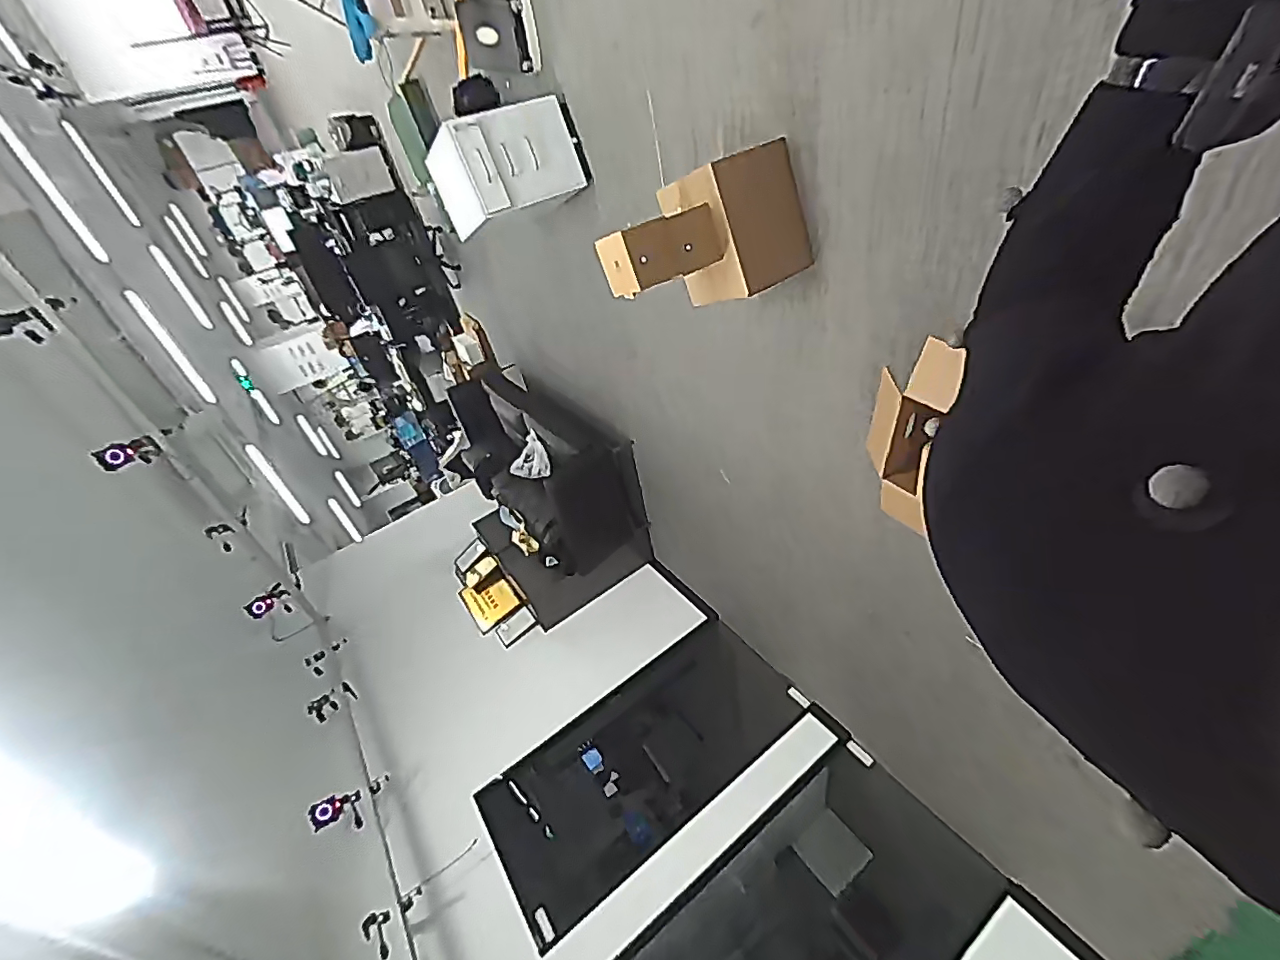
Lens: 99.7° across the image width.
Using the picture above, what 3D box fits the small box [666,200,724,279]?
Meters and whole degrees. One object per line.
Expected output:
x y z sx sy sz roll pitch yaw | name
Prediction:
0.144 -0.765 1.728 0.168 0.176 0.179 18 135 58 | small box

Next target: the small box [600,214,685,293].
0.011 -0.698 1.663 0.168 0.176 0.179 19 136 57 | small box
